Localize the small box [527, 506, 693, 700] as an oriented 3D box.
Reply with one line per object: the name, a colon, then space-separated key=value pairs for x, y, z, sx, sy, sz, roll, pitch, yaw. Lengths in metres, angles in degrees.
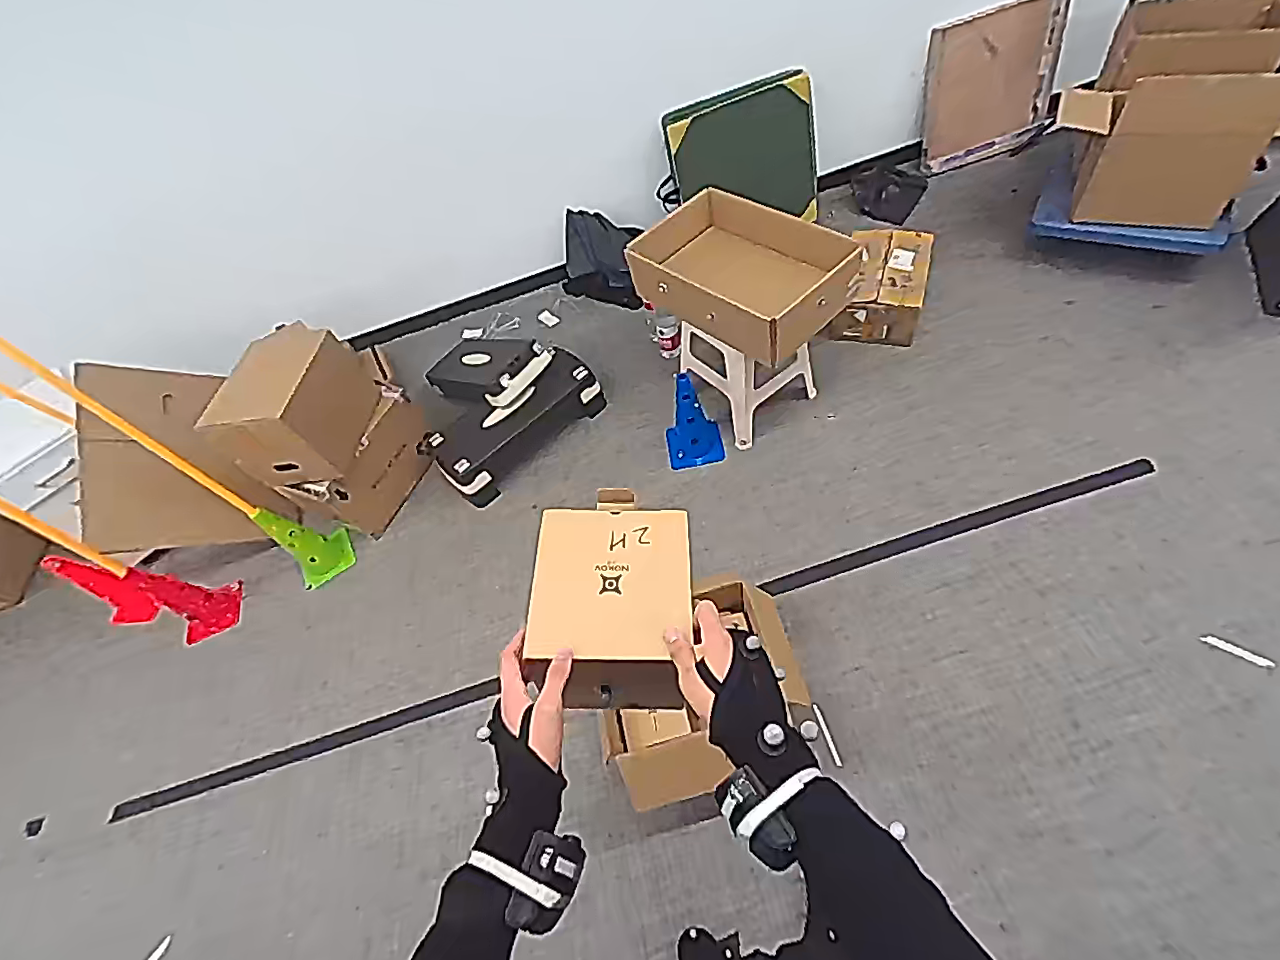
small box: x=-0.026 y=0.148 z=0.635 sx=0.168 sy=0.176 sz=0.179 roll=1 pitch=52 yaw=1
